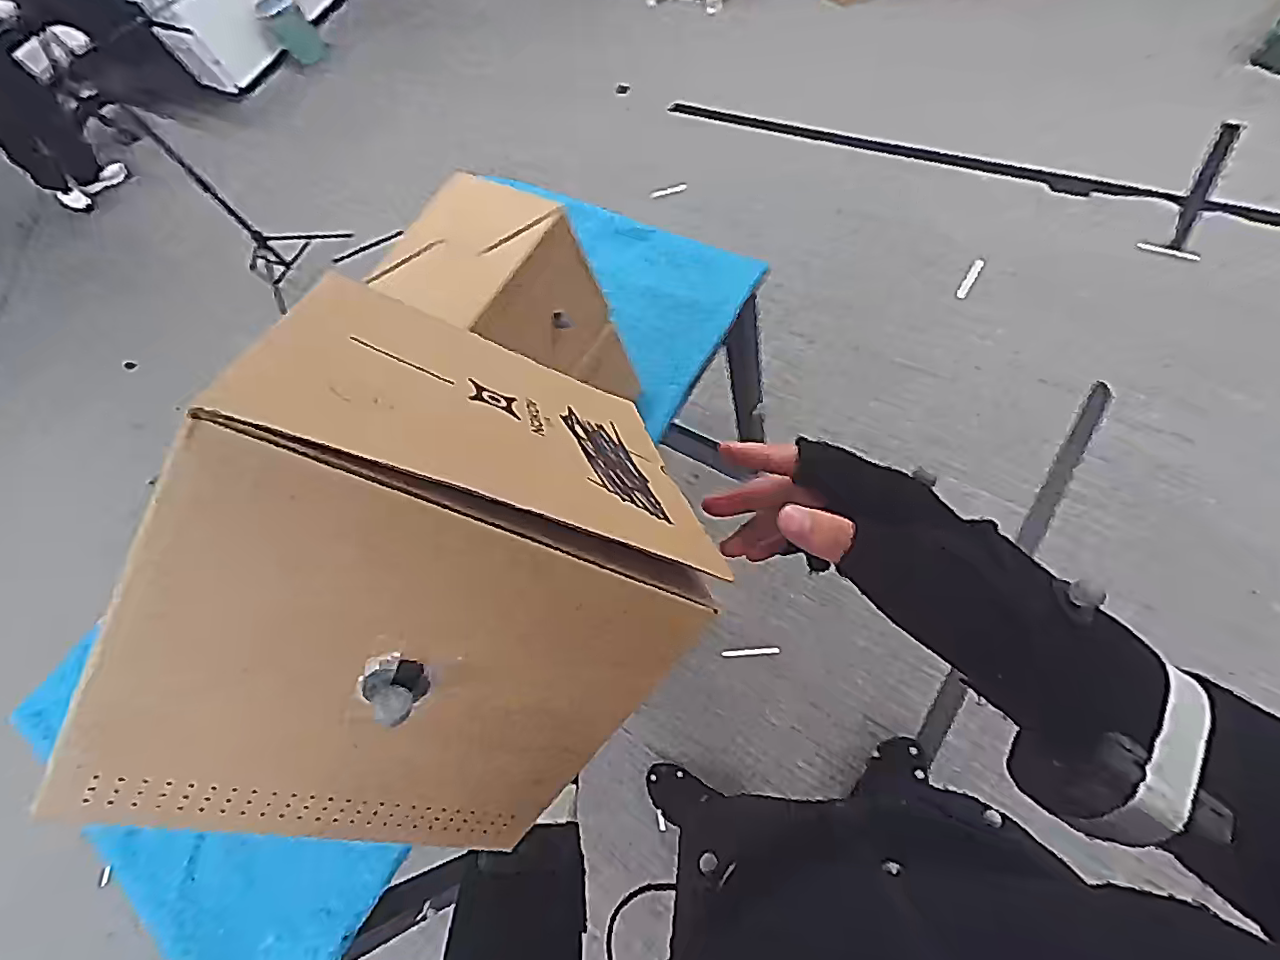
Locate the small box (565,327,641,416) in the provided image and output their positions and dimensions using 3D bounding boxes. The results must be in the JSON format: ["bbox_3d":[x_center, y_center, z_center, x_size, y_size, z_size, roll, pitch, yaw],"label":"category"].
[{"bbox_3d":[-0.129,-0.136,0.782,0.179,0.176,0.168,27,76,24],"label":"small box"}]

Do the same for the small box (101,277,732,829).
[{"bbox_3d":[-0.094,0.038,0.263,0.176,0.179,0.168,-54,30,18],"label":"small box"}]

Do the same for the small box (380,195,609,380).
[{"bbox_3d":[-0.169,-0.207,0.640,0.168,0.176,0.179,29,79,25],"label":"small box"}]
